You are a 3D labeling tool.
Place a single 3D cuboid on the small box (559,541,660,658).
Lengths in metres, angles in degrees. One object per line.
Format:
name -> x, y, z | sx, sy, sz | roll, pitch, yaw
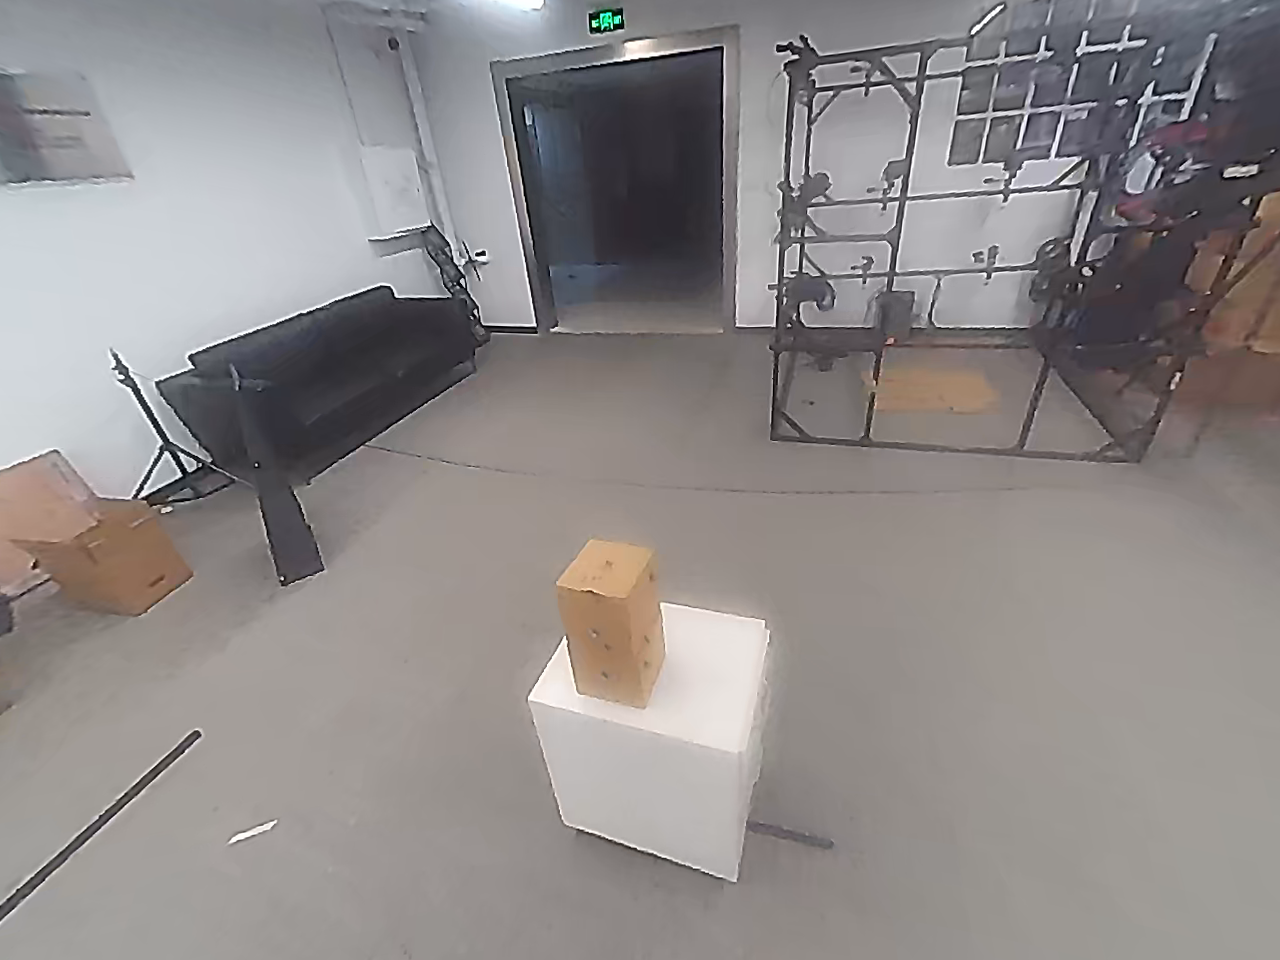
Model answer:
small box -> -0.060, 0.264, 1.211 | 0.168, 0.176, 0.179 | 6, 32, 22
